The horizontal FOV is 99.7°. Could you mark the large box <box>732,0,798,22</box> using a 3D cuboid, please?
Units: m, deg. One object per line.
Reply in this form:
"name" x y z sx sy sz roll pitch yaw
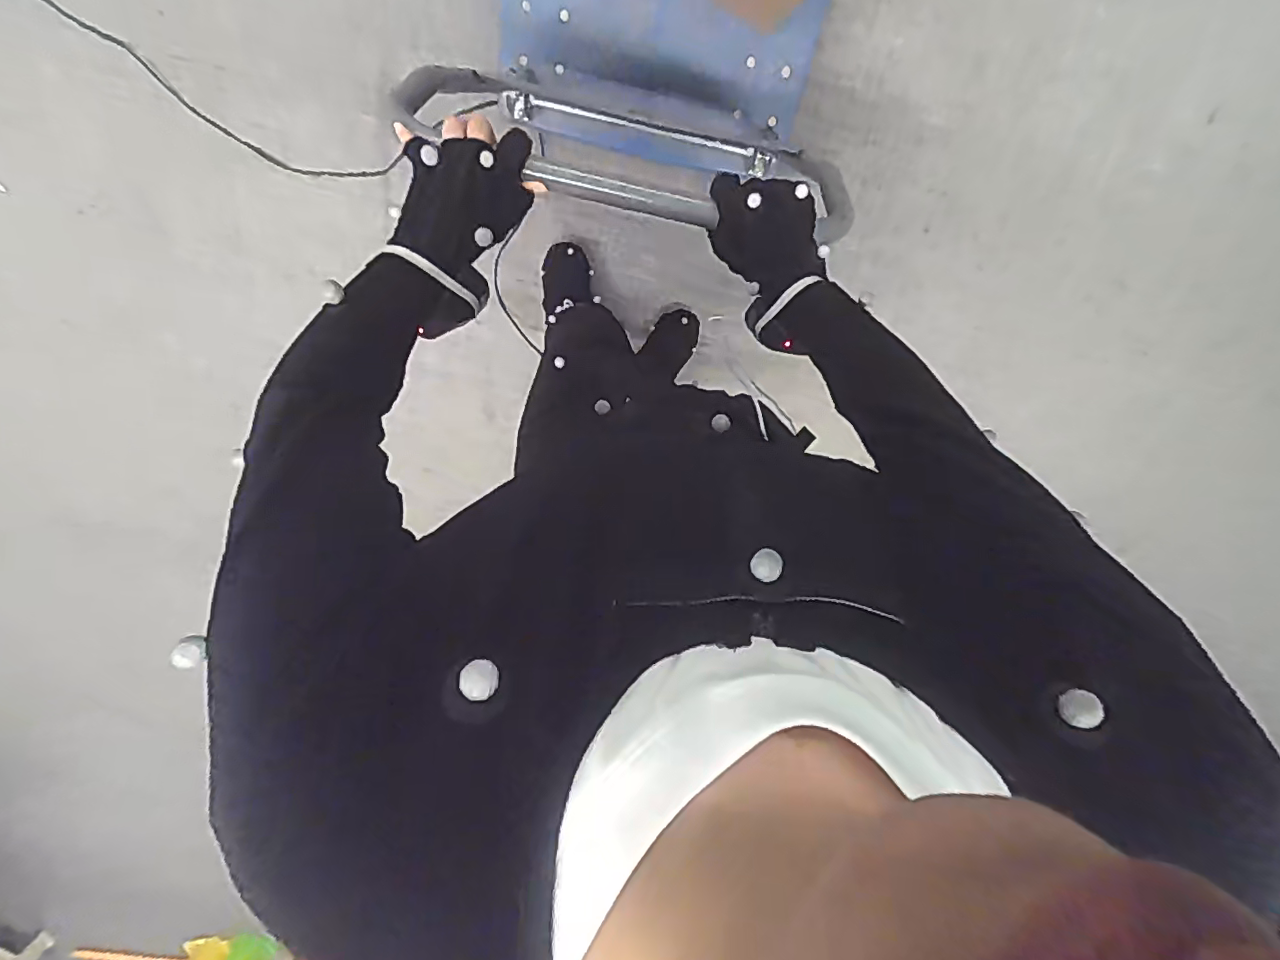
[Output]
"large box" 0.119 -0.931 0.744 0.408 0.320 0.320 24 121 -12
